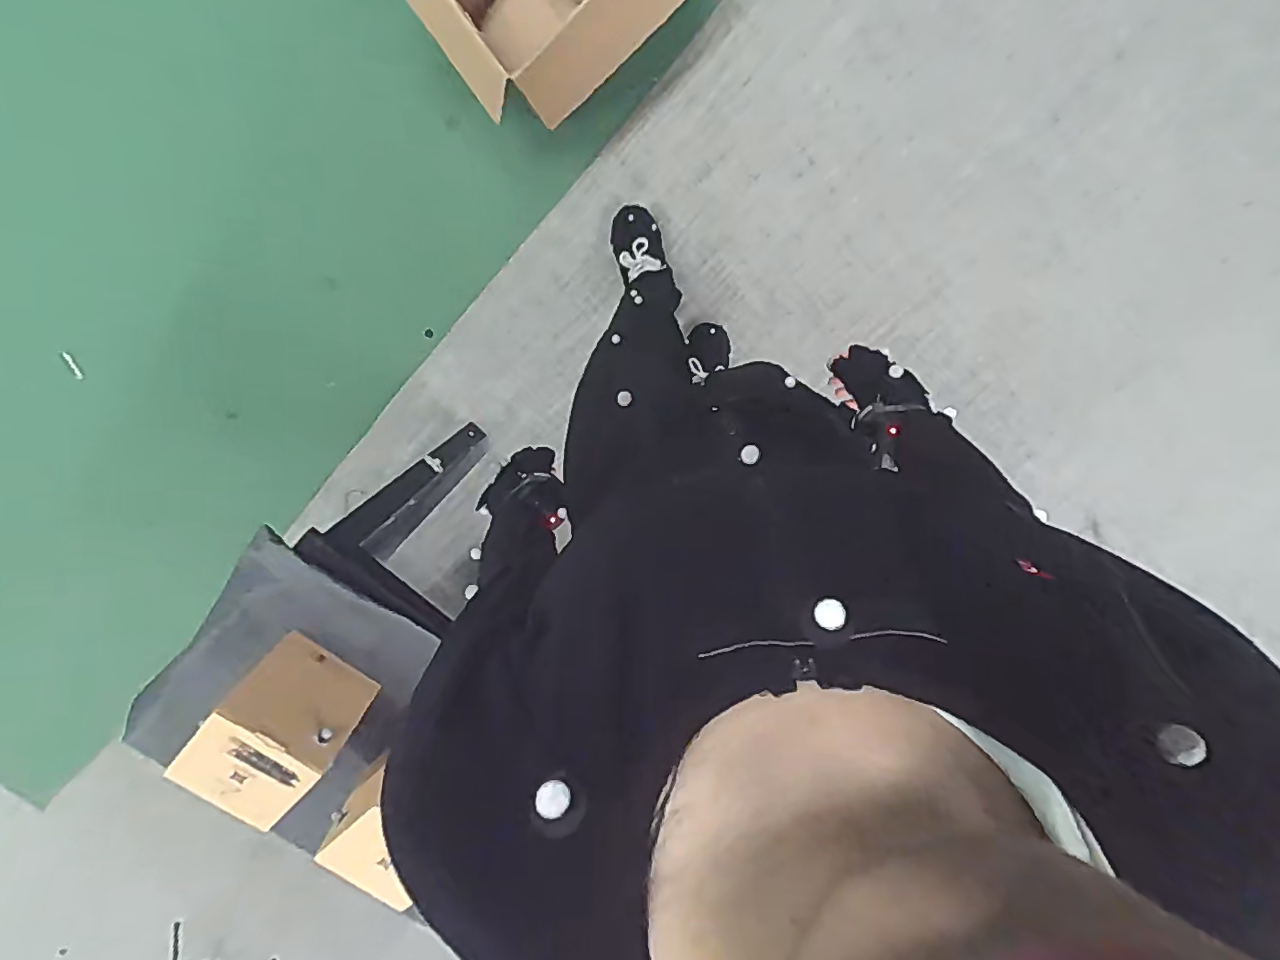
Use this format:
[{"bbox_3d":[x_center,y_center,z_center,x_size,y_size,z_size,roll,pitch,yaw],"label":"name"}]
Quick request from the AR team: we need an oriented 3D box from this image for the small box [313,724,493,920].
[{"bbox_3d":[-0.363,0.537,0.863,0.168,0.176,0.179,43,106,-13],"label":"small box"}]
